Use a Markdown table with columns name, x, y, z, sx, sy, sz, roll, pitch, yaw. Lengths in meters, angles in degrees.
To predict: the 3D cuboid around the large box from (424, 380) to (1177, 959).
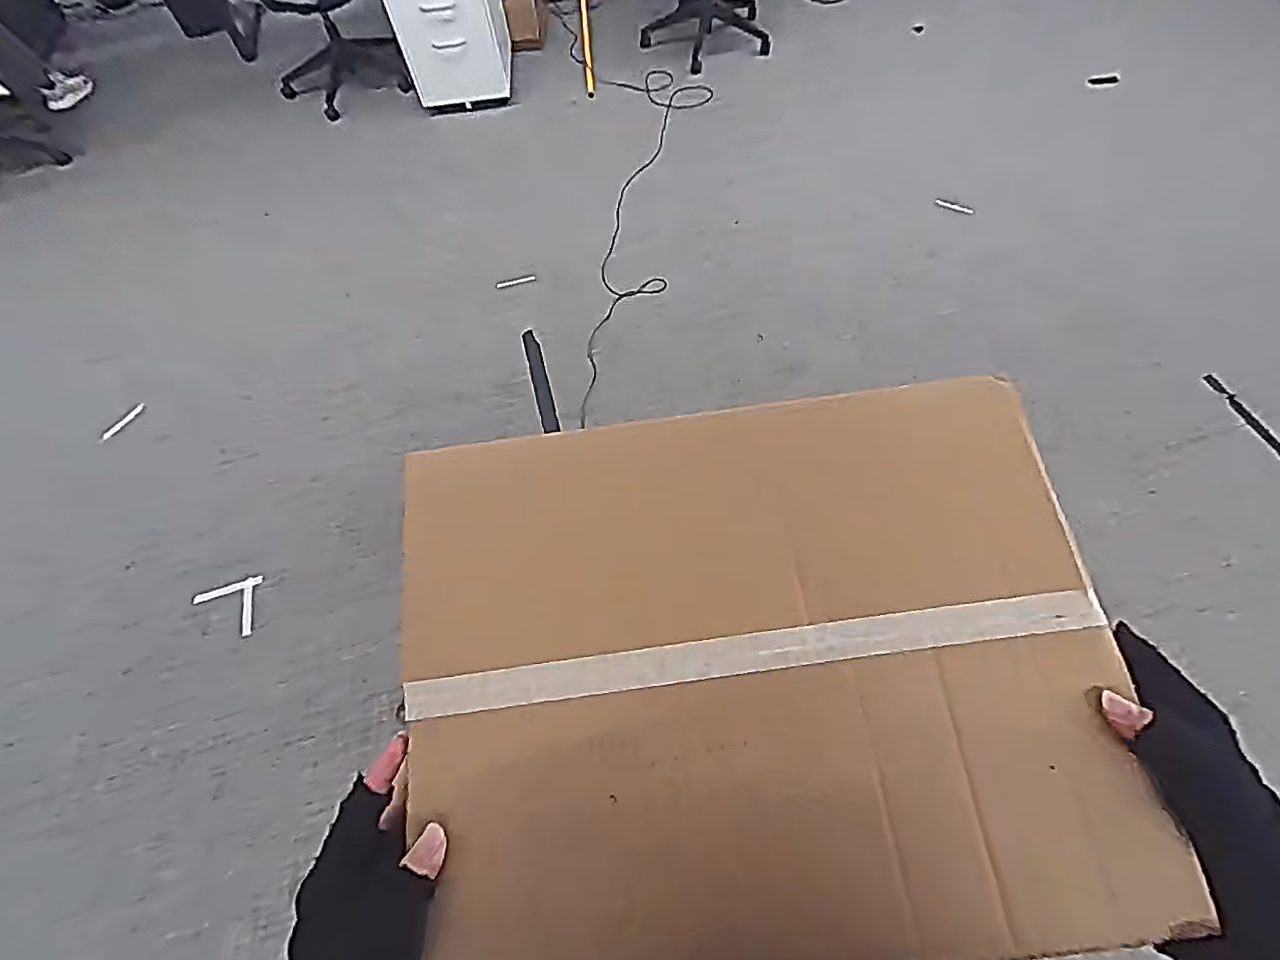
| name | x | y | z | sx | sy | sz | roll | pitch | yaw |
| --- | --- | --- | --- | --- | --- | --- | --- | --- | --- |
| large box | 0.072 | 0.149 | 0.469 | 0.408 | 0.320 | 0.320 | -8 | 73 | 1 |
